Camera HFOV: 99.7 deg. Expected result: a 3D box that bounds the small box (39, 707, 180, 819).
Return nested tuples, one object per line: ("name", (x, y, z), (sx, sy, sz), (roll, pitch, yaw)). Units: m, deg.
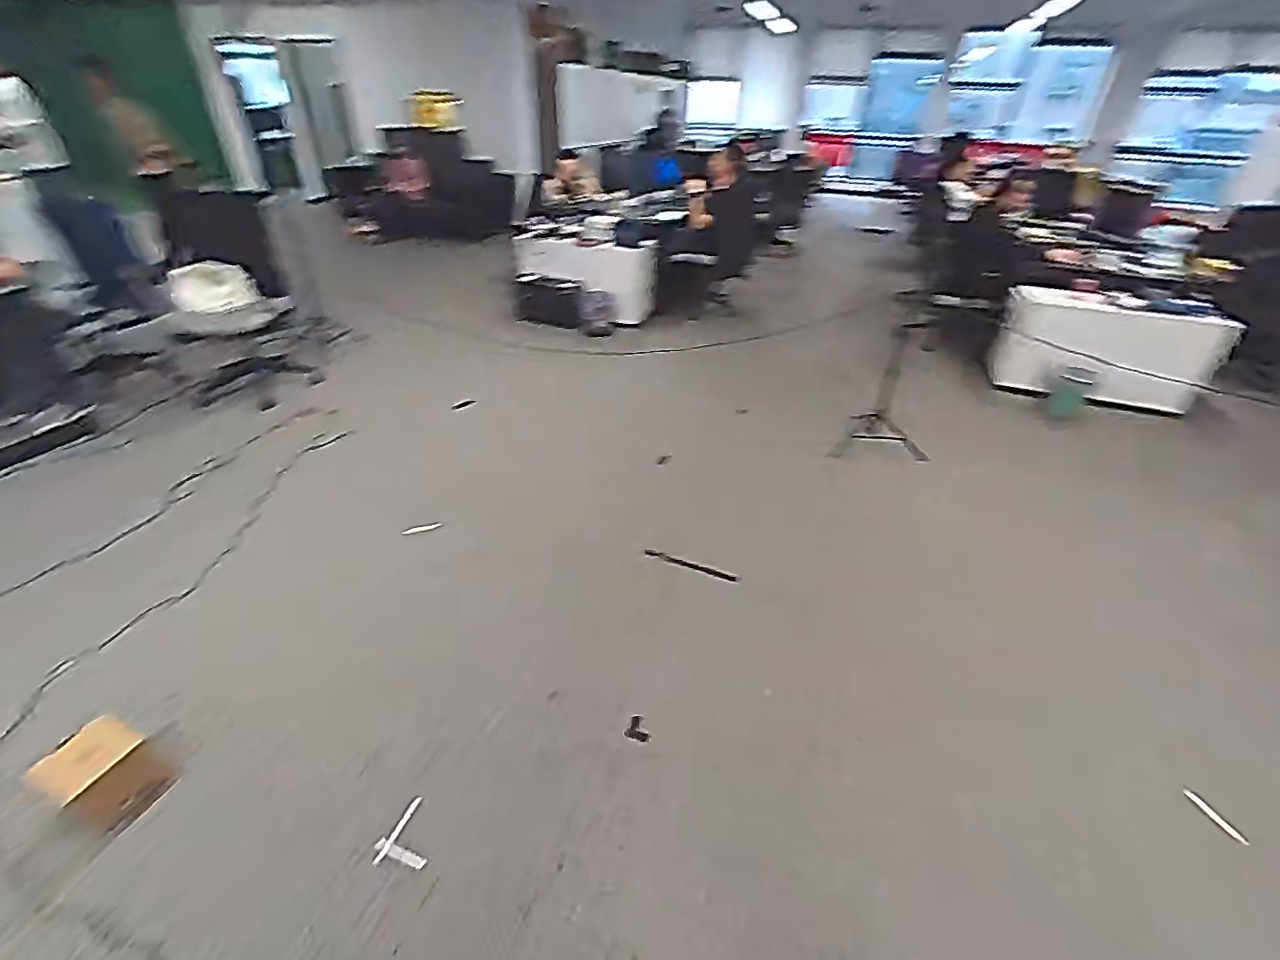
("small box", (-1.350, 0.727, 1.387), (0.179, 0.176, 0.168), (17, 38, 18))
